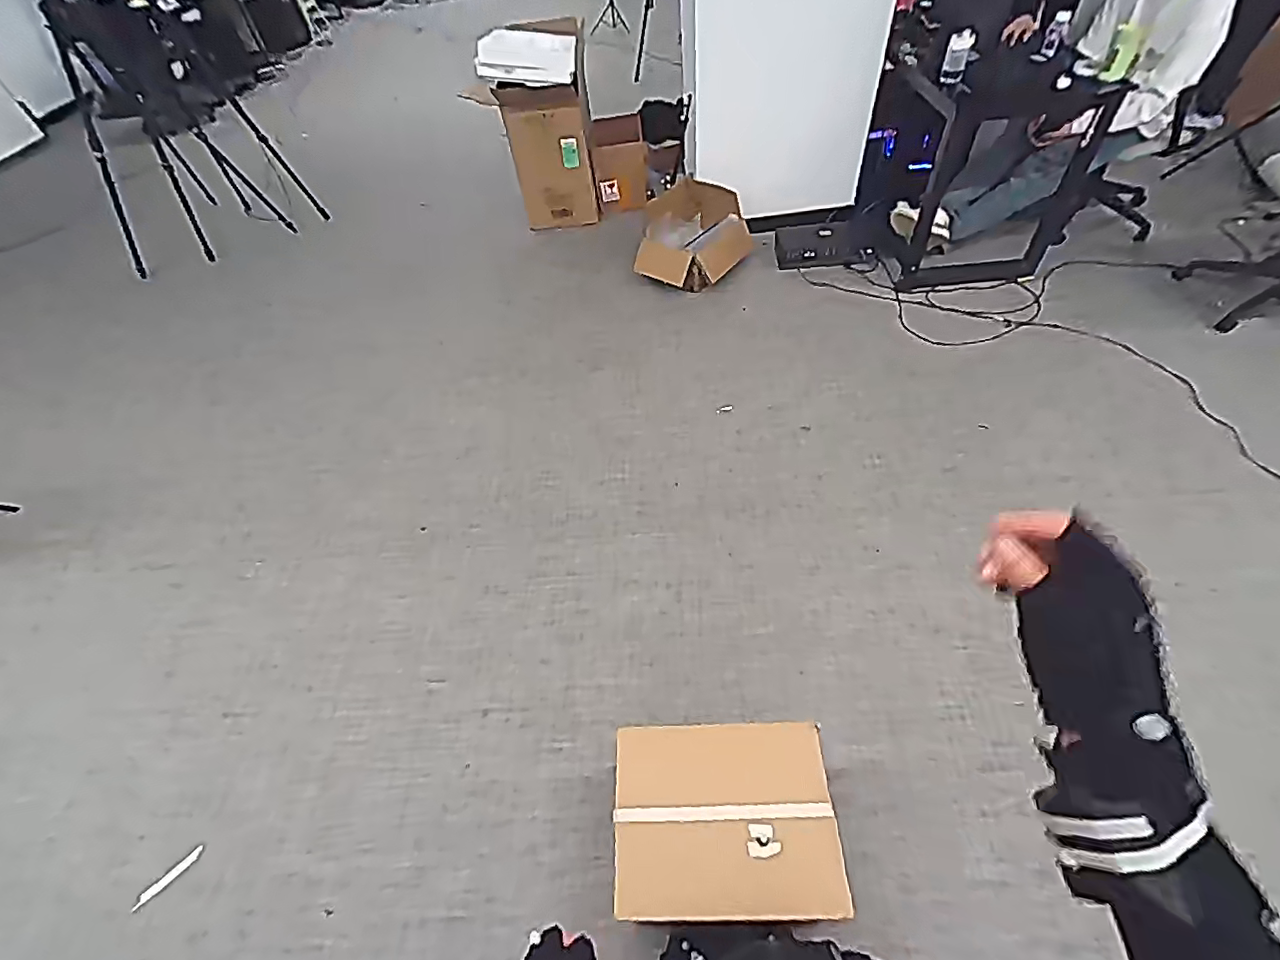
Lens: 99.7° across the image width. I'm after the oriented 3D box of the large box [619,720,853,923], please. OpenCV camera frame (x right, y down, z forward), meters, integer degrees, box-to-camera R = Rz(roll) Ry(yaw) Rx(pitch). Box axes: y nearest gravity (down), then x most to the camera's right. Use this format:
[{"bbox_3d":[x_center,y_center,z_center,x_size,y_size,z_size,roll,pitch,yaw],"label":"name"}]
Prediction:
[{"bbox_3d":[0.170,0.715,1.125,0.408,0.320,0.320,-4,51,3],"label":"large box"}]
